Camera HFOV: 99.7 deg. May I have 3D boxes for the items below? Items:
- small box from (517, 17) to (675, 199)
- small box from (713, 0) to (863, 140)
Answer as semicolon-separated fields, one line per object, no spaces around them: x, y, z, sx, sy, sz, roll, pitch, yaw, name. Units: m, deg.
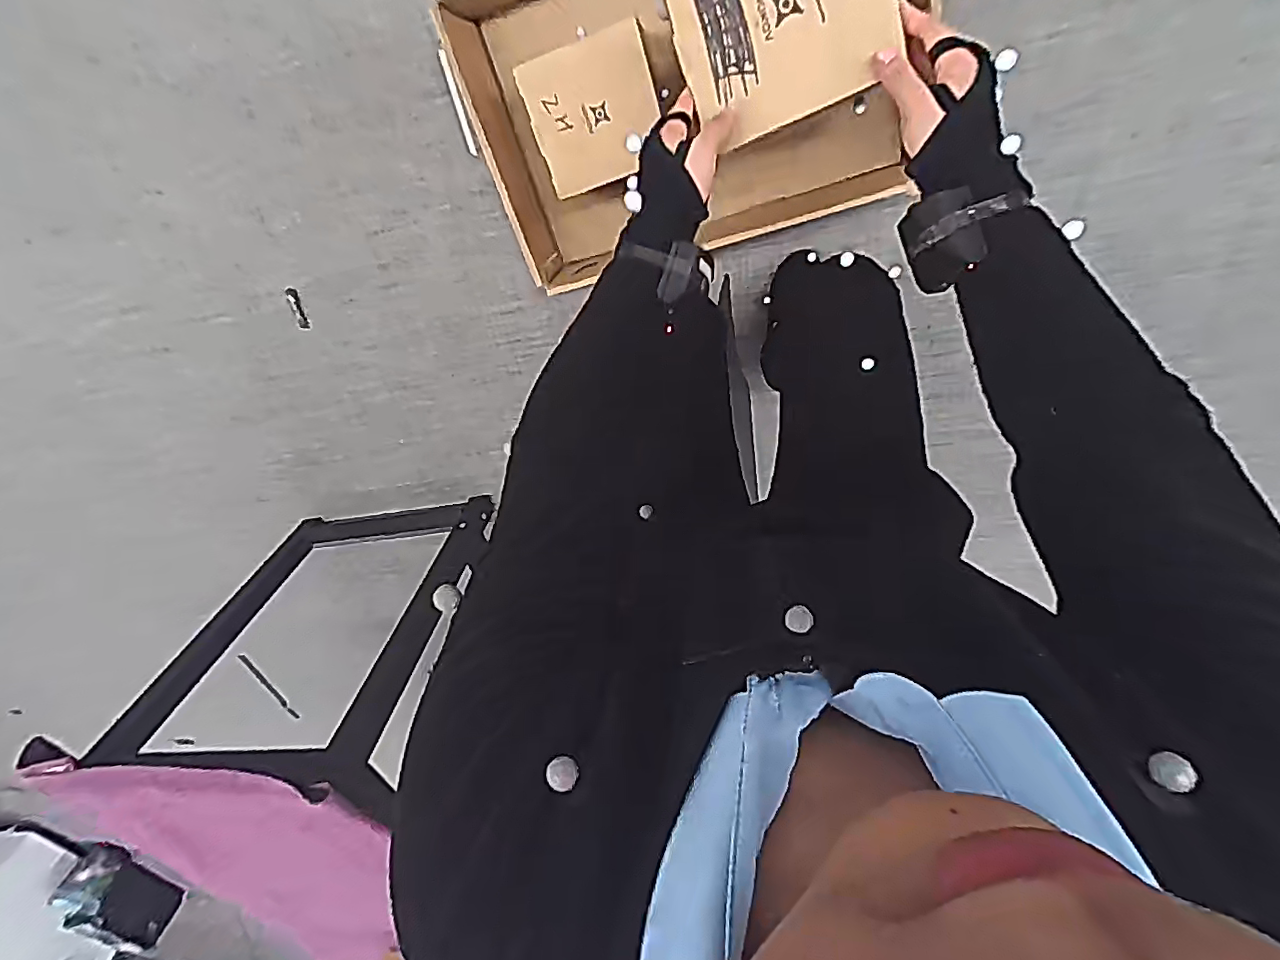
-0.052;-0.540;0.797;0.179;0.176;0.168;-13;122;14;small box
0.195;-0.589;0.736;0.168;0.176;0.179;-10;124;15;small box
